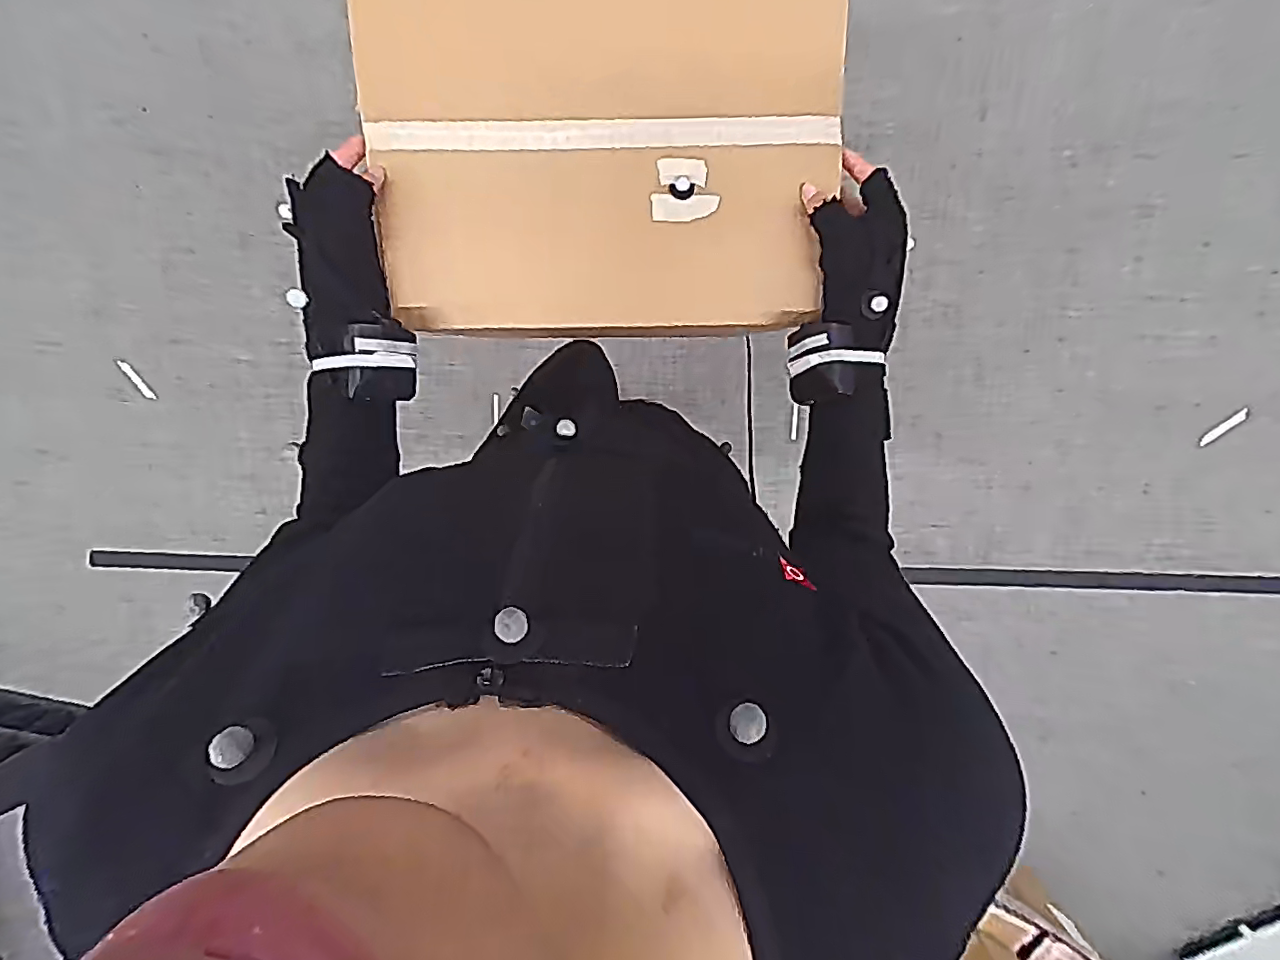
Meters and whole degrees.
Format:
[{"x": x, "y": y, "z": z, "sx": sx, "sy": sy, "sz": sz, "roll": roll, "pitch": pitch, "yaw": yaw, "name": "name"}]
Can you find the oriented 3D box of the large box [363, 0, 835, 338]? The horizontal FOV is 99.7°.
[{"x": -0.034, "y": -0.335, "z": 0.619, "sx": 0.408, "sy": 0.320, "sz": 0.320, "roll": -1, "pitch": 103, "yaw": -1, "name": "large box"}]
